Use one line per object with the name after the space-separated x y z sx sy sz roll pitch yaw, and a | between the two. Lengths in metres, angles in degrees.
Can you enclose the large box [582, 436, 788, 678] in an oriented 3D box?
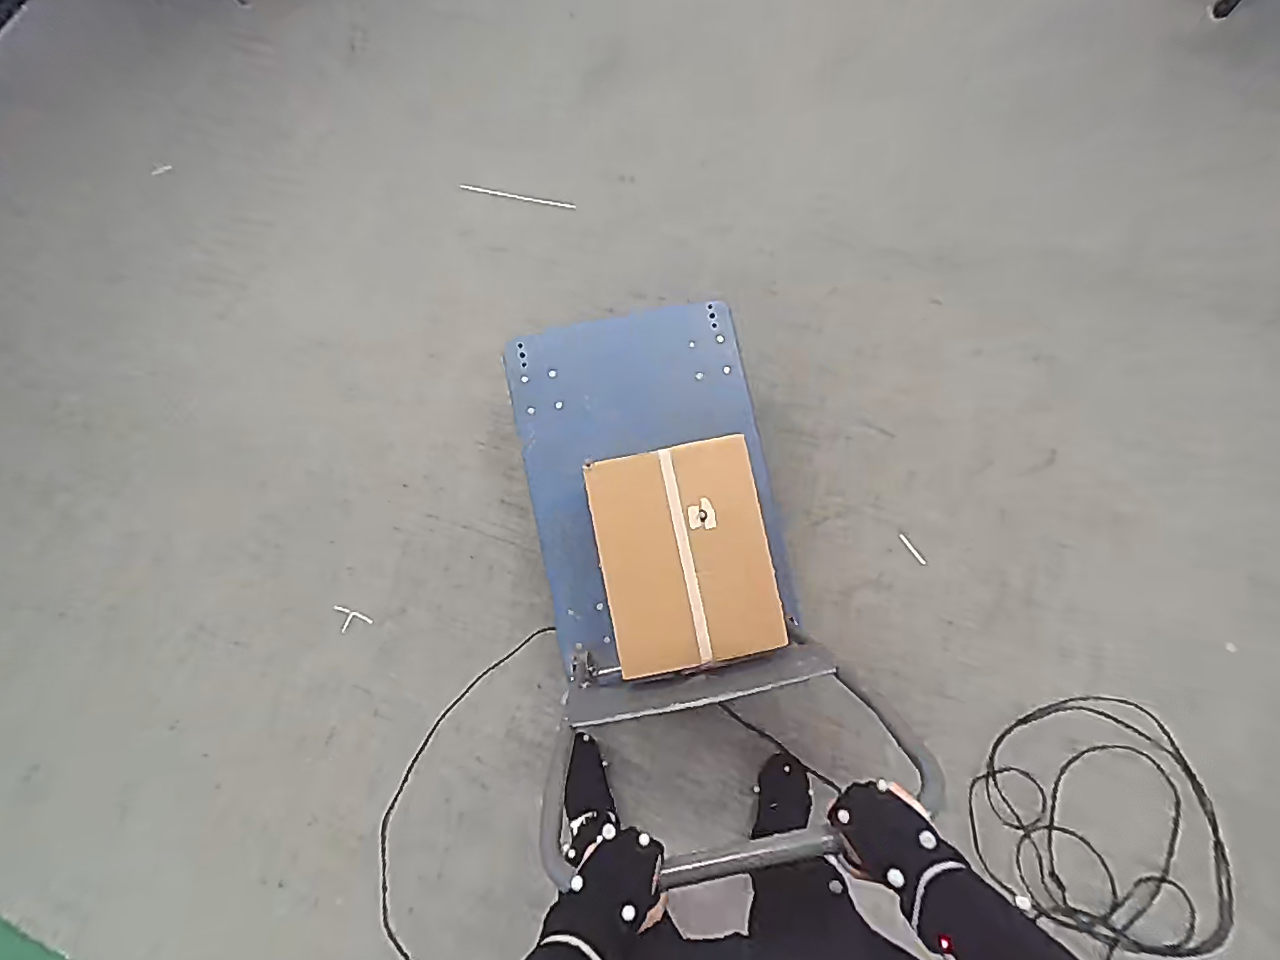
0.083 0.155 1.159 0.320 0.320 0.408 -12 85 -2 | large box
